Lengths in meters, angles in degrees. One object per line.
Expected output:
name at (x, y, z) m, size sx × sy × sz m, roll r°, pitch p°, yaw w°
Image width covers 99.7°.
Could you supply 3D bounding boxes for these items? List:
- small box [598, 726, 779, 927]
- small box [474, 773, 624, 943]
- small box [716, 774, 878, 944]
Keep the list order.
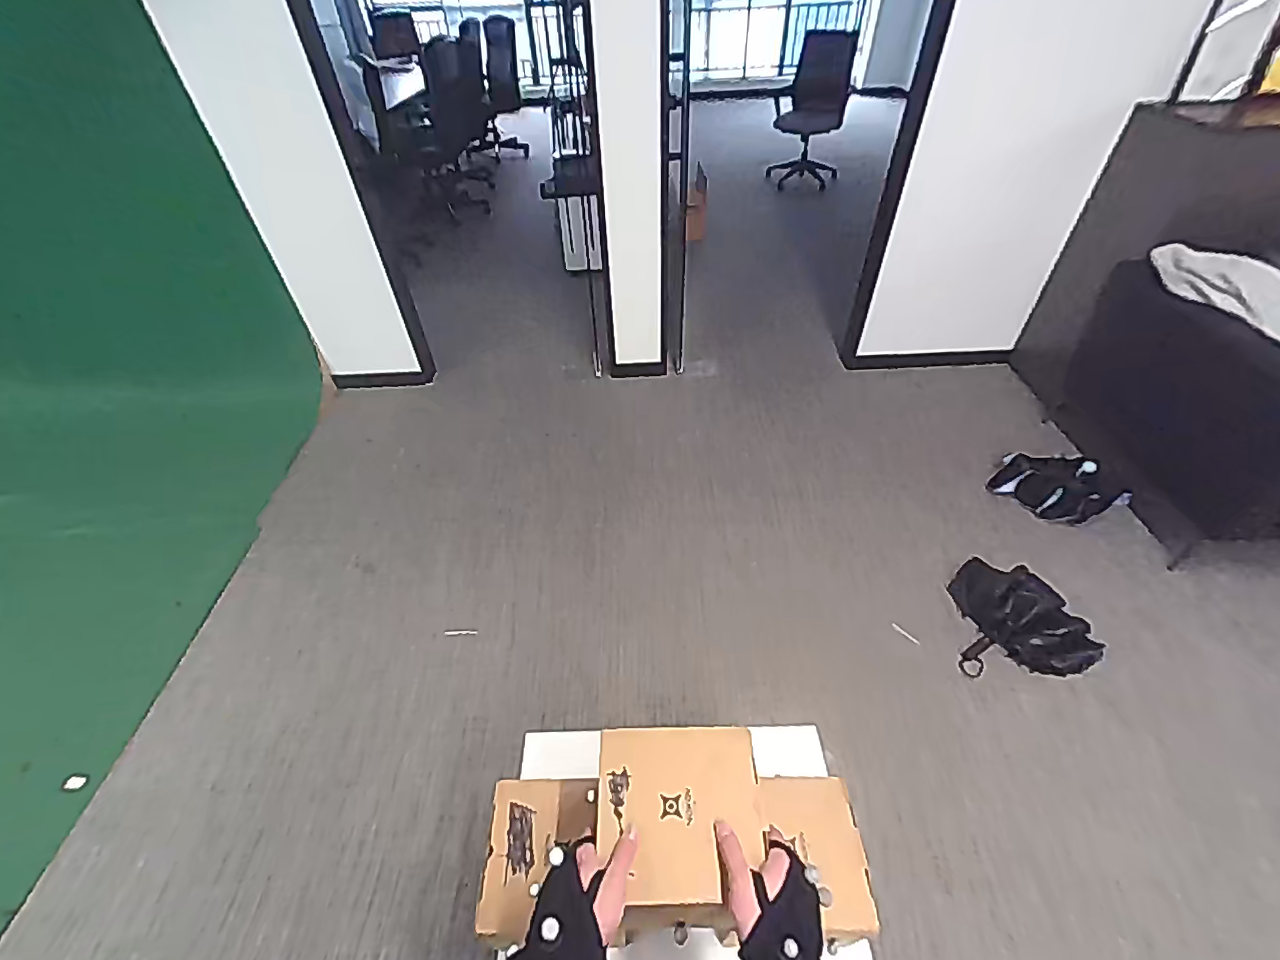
small box at (0.045, 0.399, 0.623) m, size 0.179 × 0.176 × 0.168 m, roll 1°, pitch 45°, yaw -1°
small box at (-0.108, 0.514, 0.735) m, size 0.179 × 0.176 × 0.168 m, roll 1°, pitch 45°, yaw -2°
small box at (0.192, 0.515, 0.737) m, size 0.179 × 0.176 × 0.168 m, roll -1°, pitch 45°, yaw 1°
